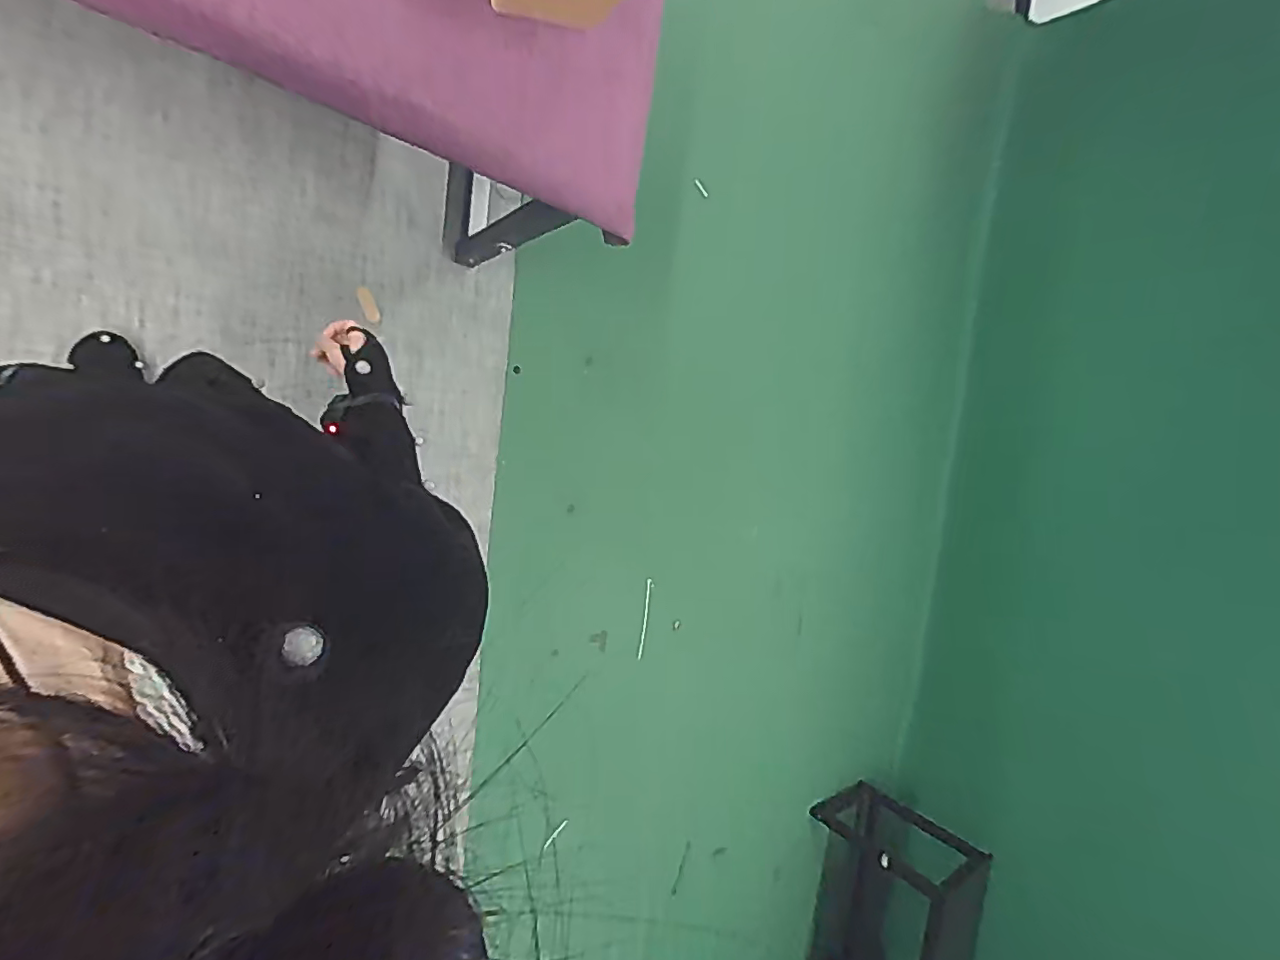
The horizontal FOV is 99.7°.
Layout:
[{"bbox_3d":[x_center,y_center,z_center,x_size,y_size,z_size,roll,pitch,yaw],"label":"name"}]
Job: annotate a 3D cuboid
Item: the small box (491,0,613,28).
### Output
[{"bbox_3d":[-0.108,-0.745,0.714,0.179,0.176,0.168,-20,110,-35],"label":"small box"}]
